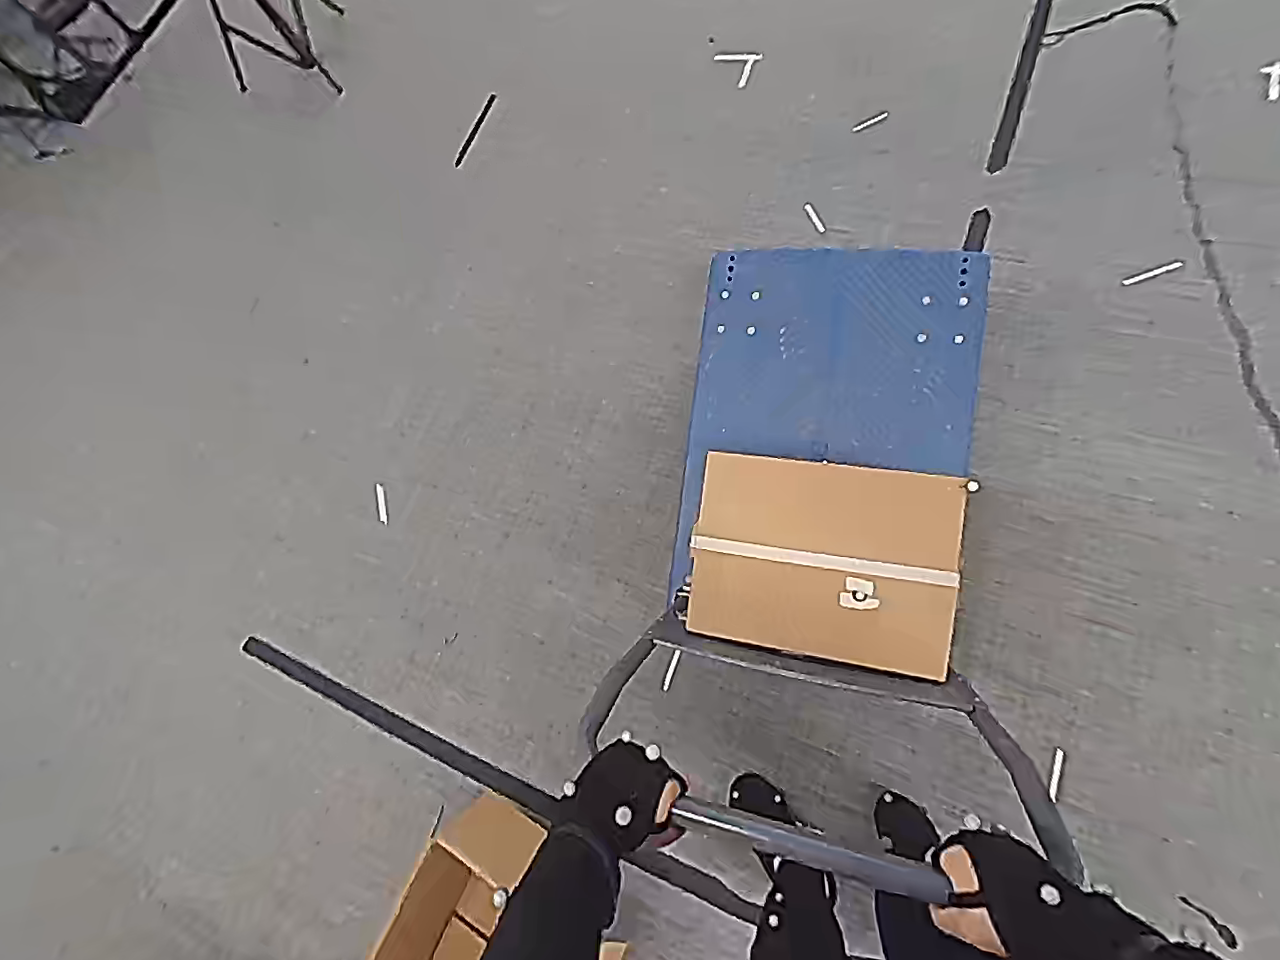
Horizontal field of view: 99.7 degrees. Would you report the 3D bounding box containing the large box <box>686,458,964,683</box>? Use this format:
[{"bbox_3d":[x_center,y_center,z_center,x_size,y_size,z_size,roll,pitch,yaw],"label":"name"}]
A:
[{"bbox_3d":[0.320,0.145,1.007,0.408,0.320,0.320,7,89,15],"label":"large box"}]
